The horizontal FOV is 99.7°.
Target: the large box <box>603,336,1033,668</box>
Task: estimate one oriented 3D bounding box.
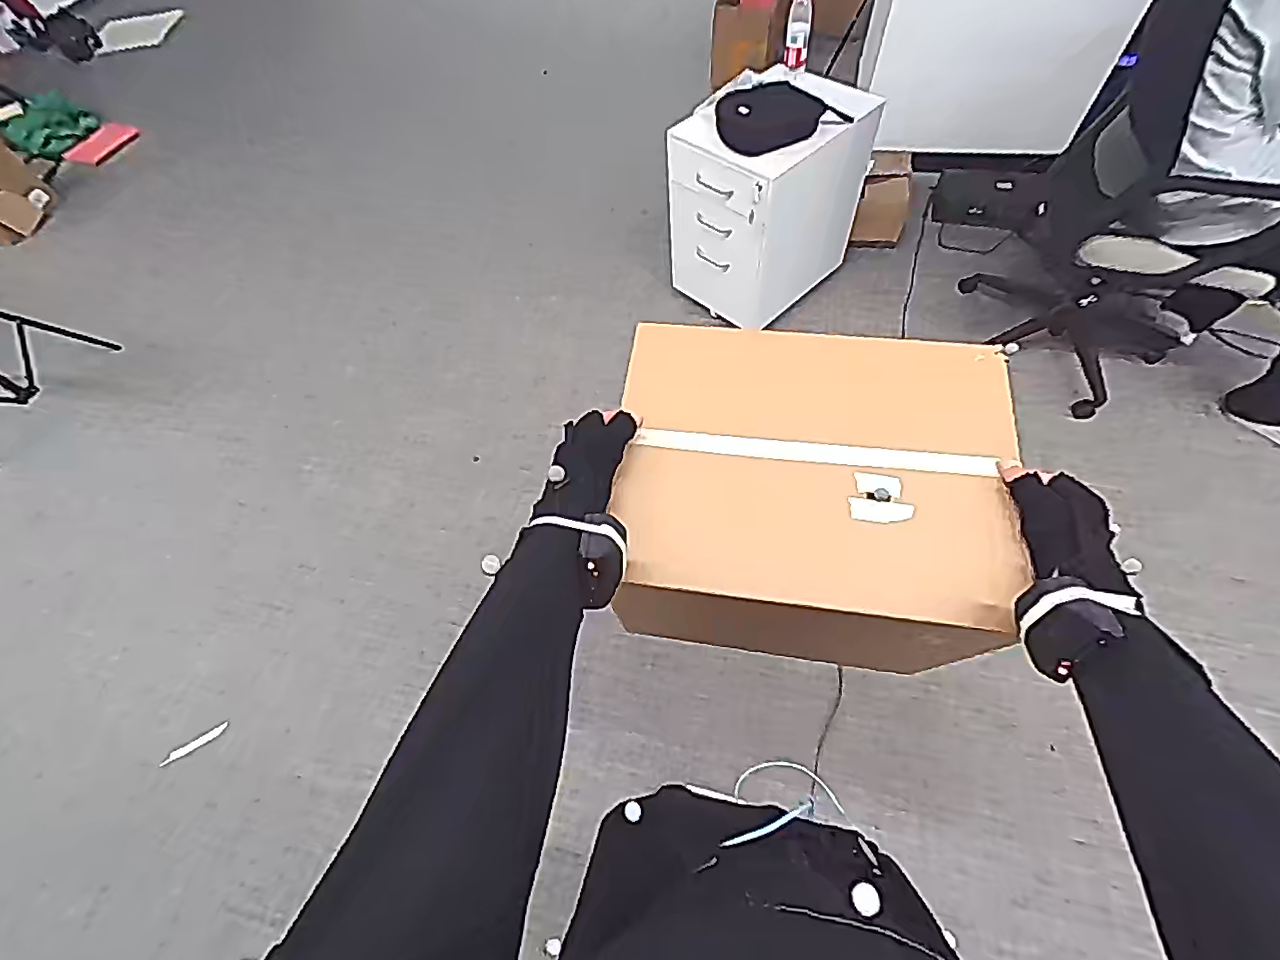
[{"bbox_3d":[0.189,0.042,0.702,0.408,0.320,0.320,6,66,8],"label":"large box"}]
